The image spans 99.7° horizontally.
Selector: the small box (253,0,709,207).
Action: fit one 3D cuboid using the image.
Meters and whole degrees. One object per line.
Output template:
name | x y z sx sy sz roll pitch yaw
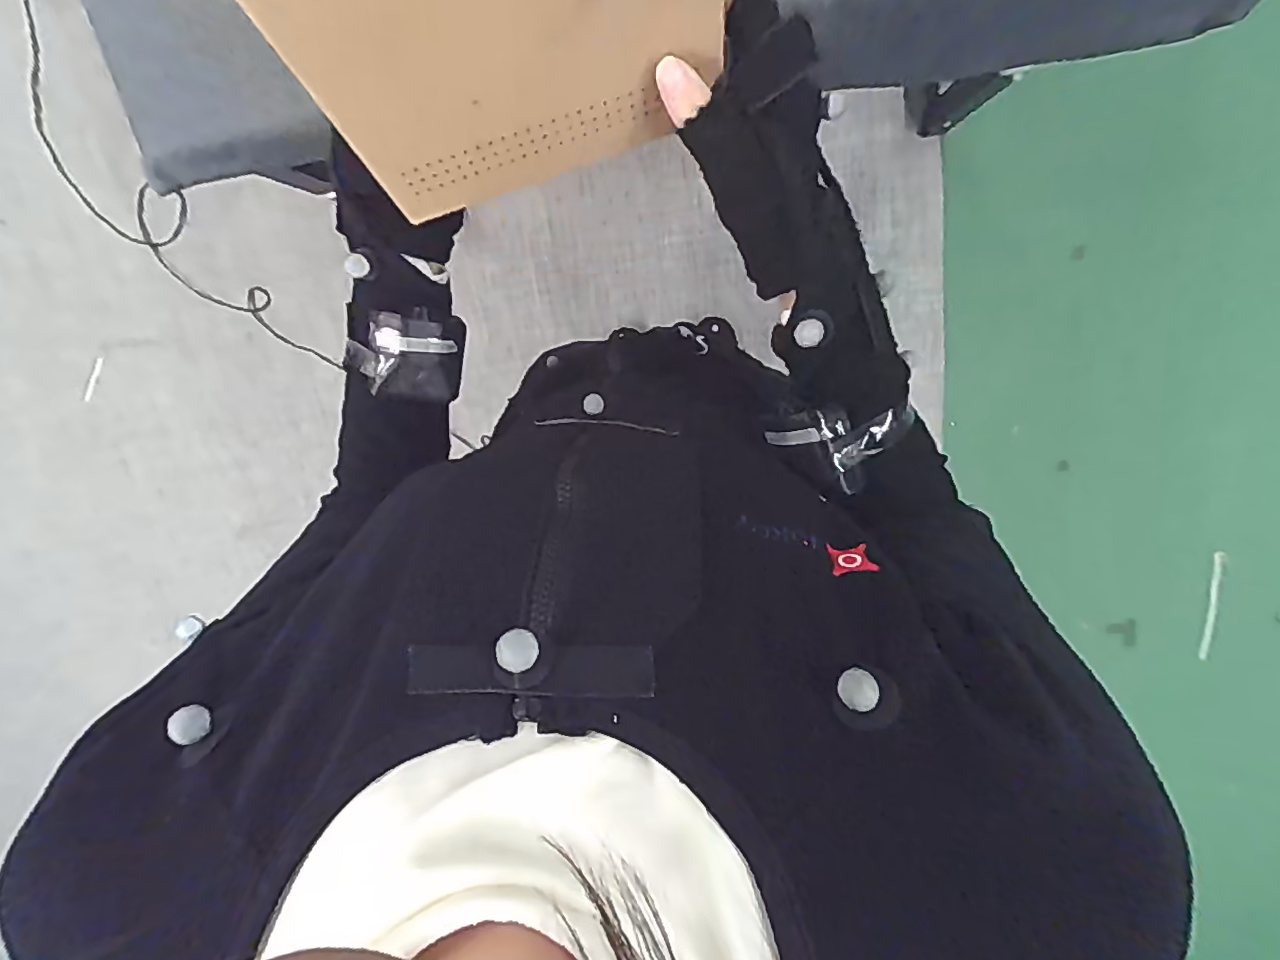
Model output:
small box | -0.073 -0.261 0.231 0.179 0.176 0.168 -19 74 4
